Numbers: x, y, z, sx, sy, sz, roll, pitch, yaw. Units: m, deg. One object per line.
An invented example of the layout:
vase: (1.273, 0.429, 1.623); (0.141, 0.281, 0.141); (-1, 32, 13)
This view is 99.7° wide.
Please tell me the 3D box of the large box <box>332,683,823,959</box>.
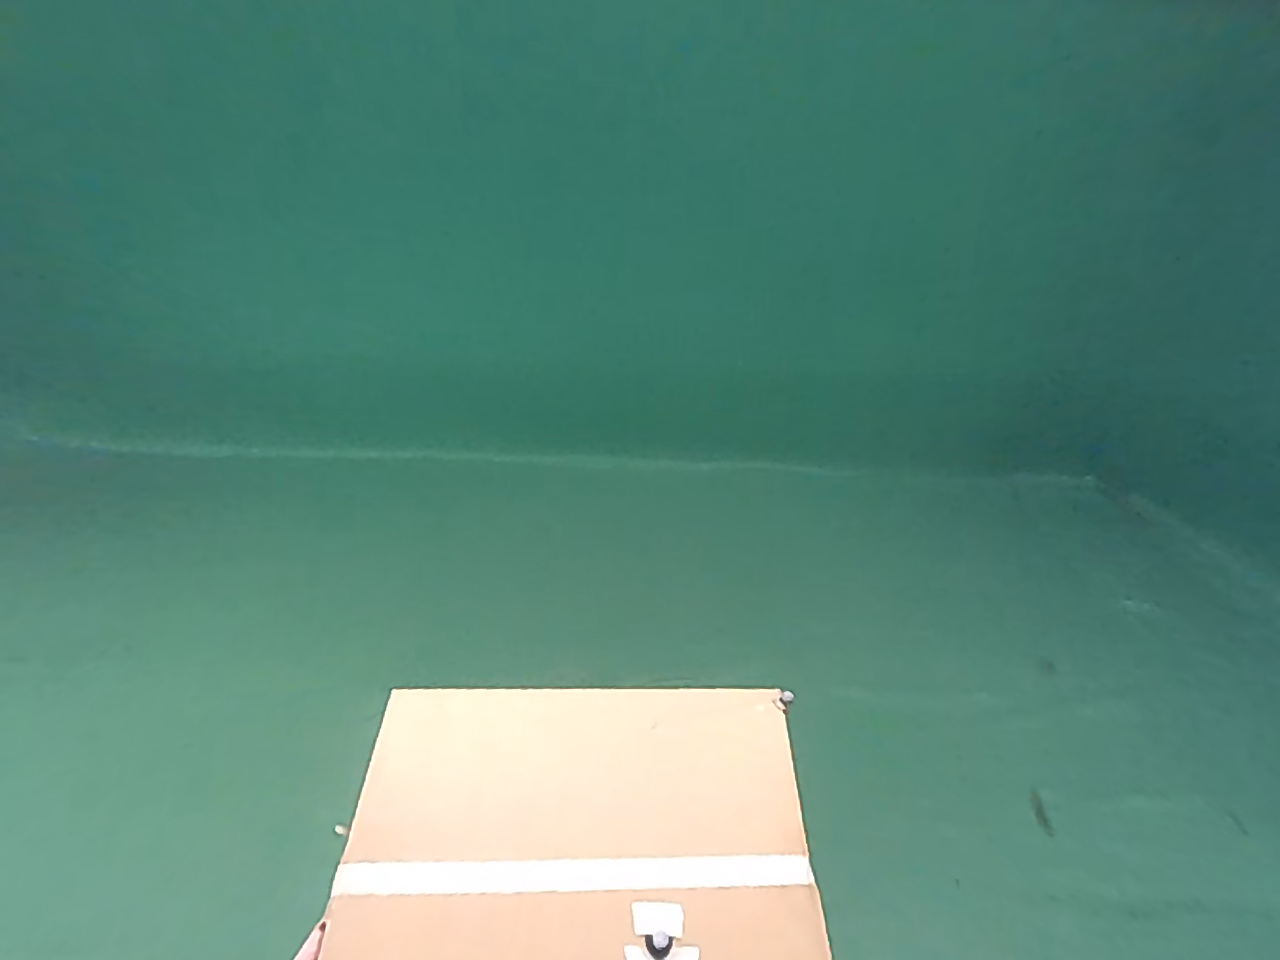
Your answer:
large box: (-0.057, 0.432, 0.592); (0.408, 0.320, 0.320); (1, 51, -3)
